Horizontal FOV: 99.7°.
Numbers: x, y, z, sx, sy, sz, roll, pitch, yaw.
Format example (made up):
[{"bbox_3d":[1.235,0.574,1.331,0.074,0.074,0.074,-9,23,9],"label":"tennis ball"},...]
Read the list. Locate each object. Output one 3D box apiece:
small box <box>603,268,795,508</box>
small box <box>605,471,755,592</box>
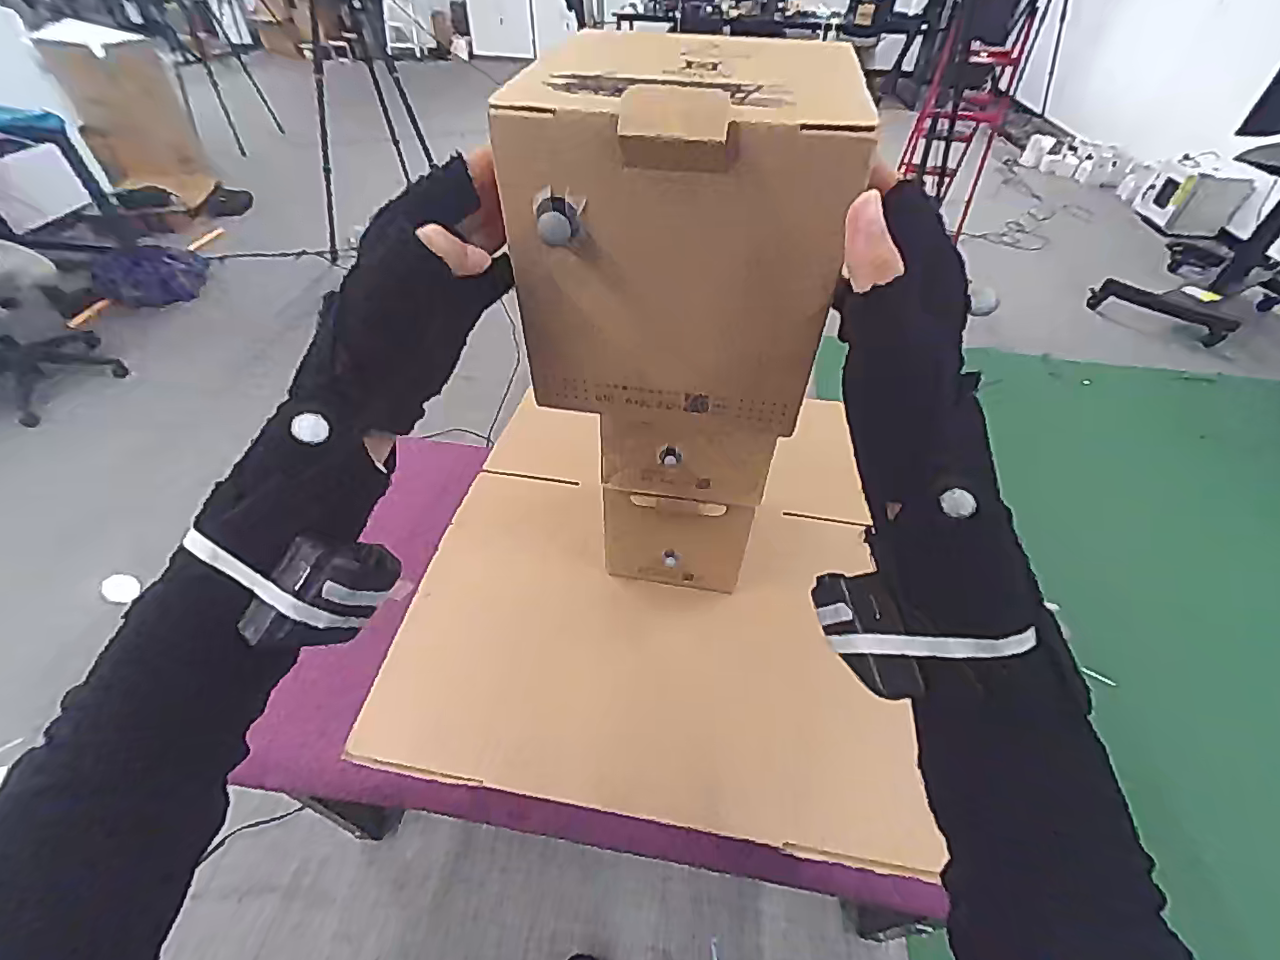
[{"bbox_3d":[0.056,-0.097,0.564,0.168,0.176,0.179,7,45,5],"label":"small box"},{"bbox_3d":[0.054,0.013,0.684,0.168,0.176,0.179,8,45,7],"label":"small box"}]
